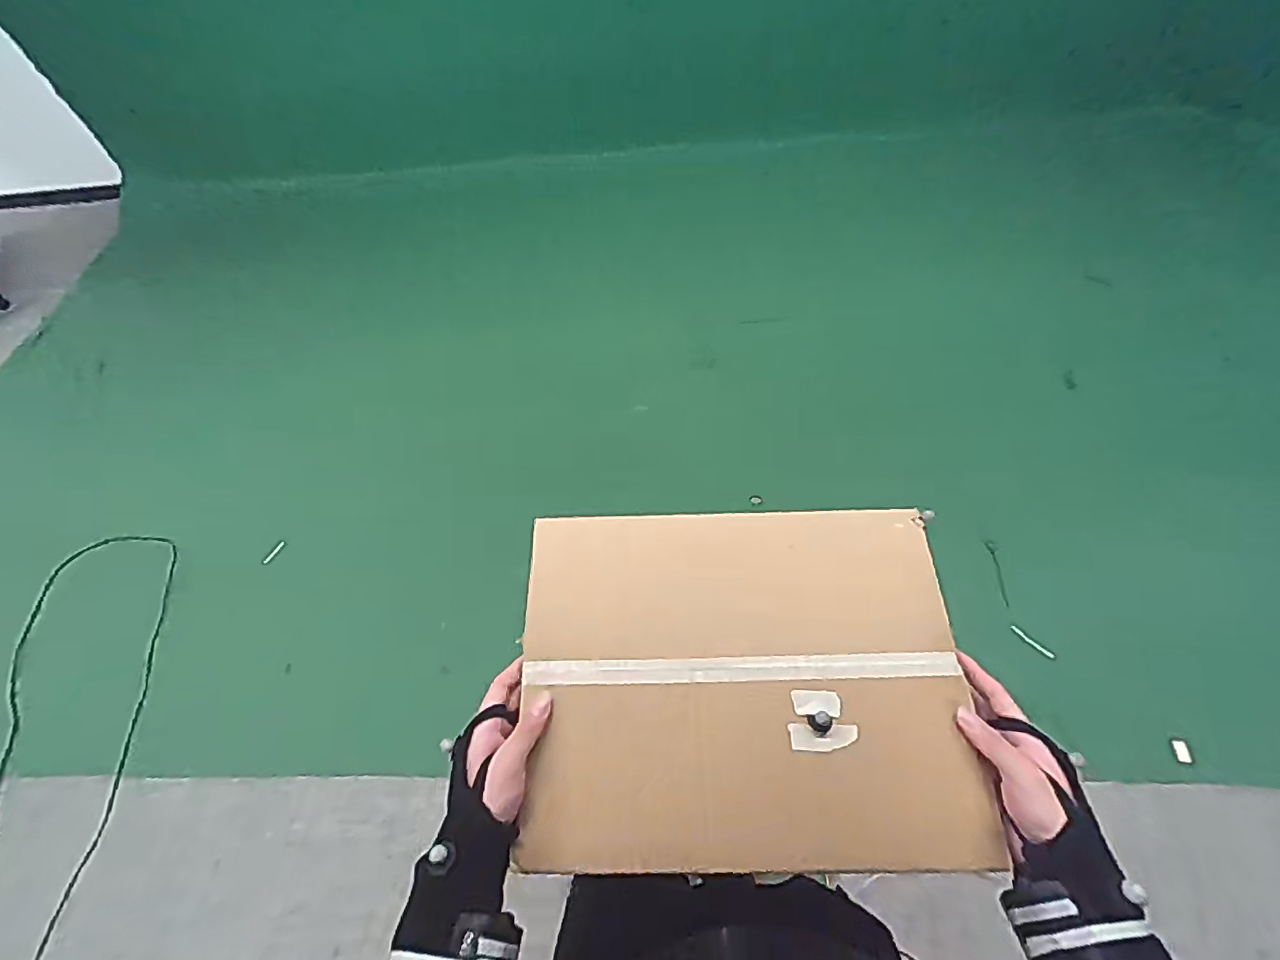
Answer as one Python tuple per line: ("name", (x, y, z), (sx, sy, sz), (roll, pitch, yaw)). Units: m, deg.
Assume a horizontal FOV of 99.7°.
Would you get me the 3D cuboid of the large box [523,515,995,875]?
("large box", (0.098, 0.250, 0.648), (0.408, 0.320, 0.320), (-2, 64, 2))
